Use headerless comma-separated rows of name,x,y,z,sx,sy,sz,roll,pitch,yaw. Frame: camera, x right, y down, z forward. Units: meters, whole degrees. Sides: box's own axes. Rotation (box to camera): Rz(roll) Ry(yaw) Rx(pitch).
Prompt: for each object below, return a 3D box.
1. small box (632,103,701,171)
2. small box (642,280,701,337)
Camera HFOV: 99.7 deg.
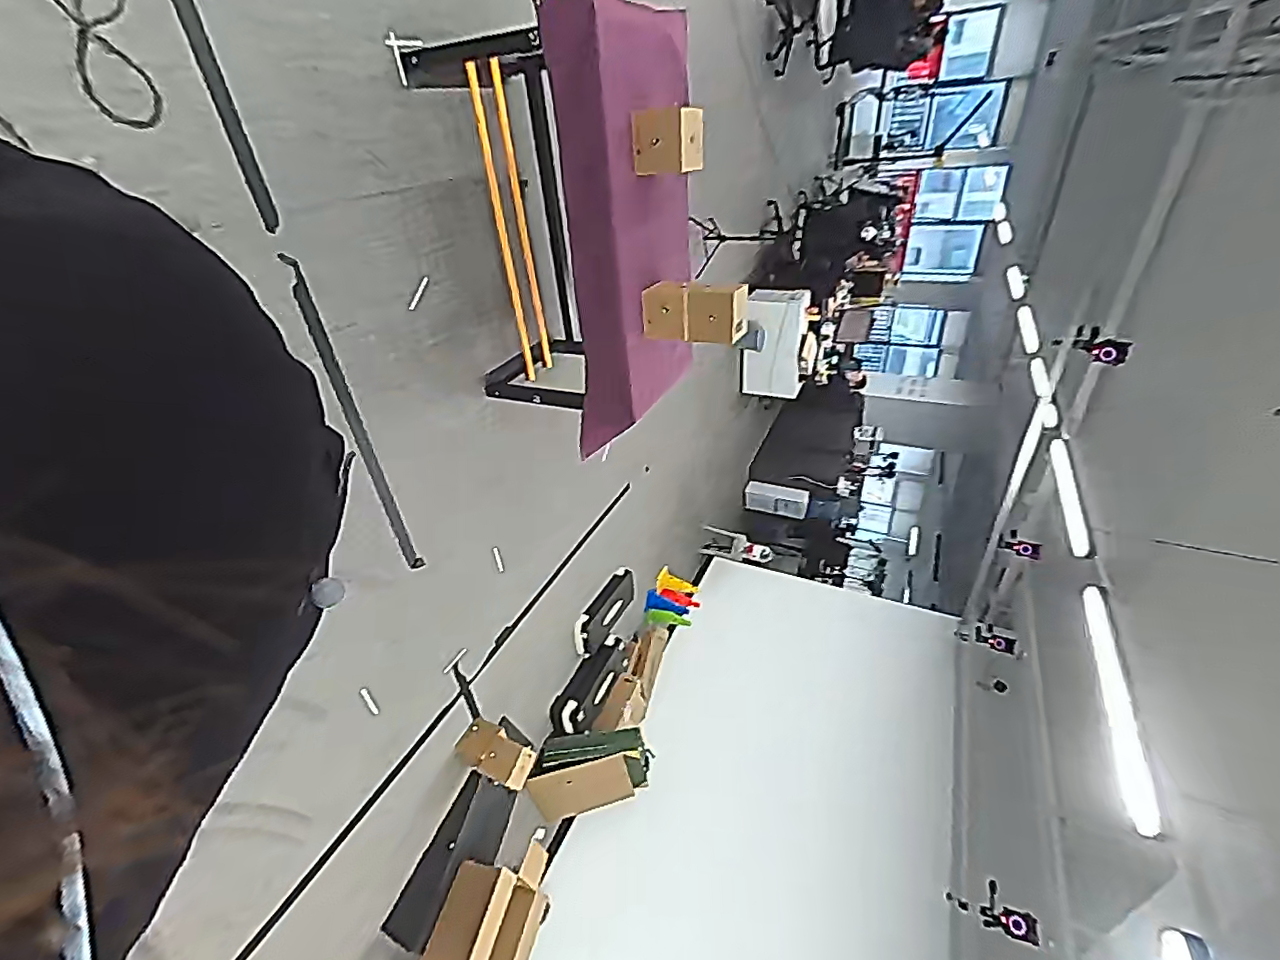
small box,0.080,-1.069,1.691,0.179,0.176,0.168,-48,143,-49
small box,0.112,-0.625,1.962,0.179,0.176,0.168,-50,142,-49
